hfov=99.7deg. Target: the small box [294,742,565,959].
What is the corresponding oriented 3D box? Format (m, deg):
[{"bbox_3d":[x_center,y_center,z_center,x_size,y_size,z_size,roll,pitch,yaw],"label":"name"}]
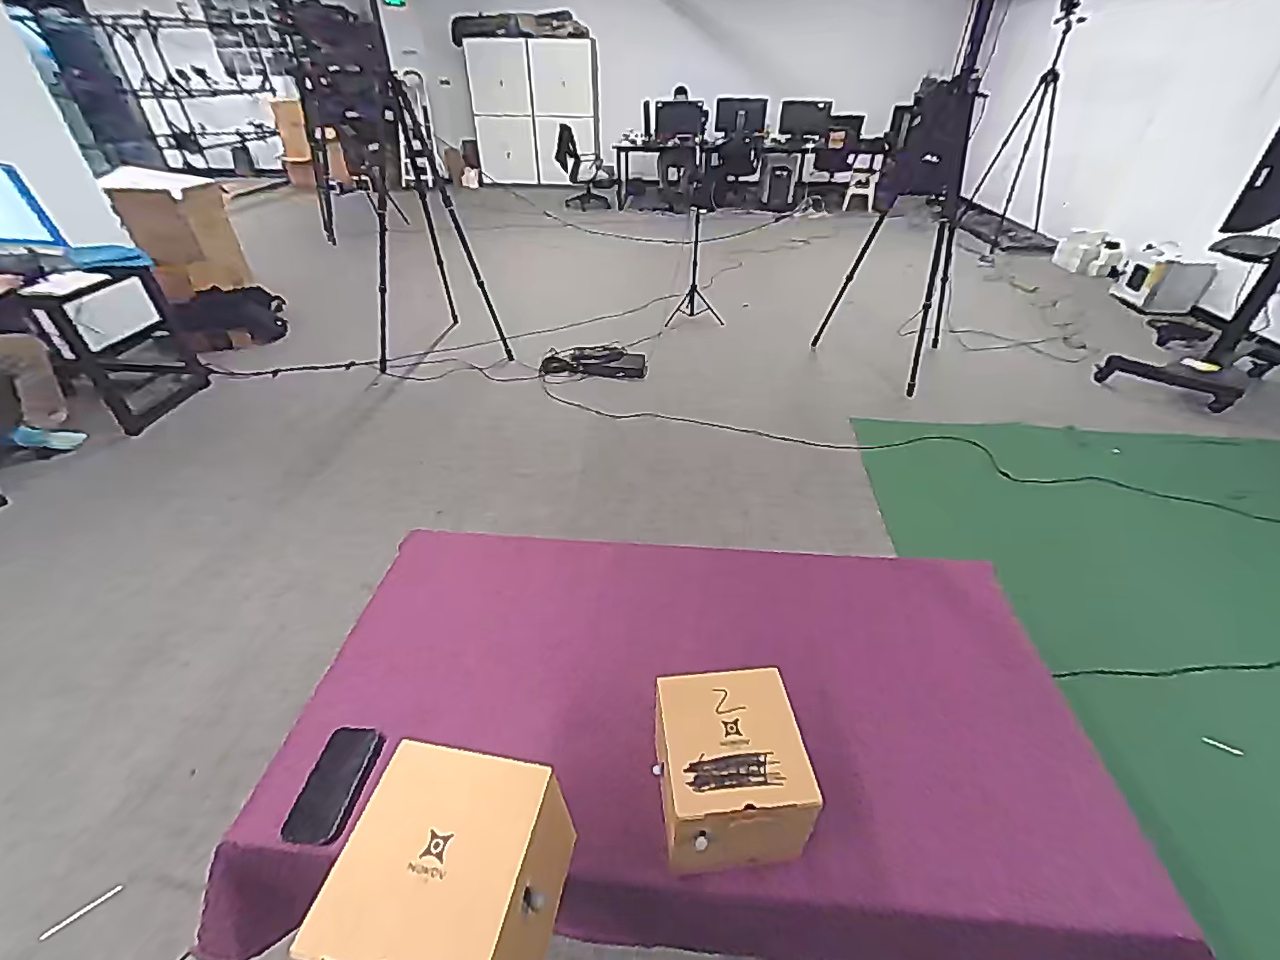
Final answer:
[{"bbox_3d":[-0.179,0.395,0.531,0.168,0.176,0.179,5,40,11],"label":"small box"}]
